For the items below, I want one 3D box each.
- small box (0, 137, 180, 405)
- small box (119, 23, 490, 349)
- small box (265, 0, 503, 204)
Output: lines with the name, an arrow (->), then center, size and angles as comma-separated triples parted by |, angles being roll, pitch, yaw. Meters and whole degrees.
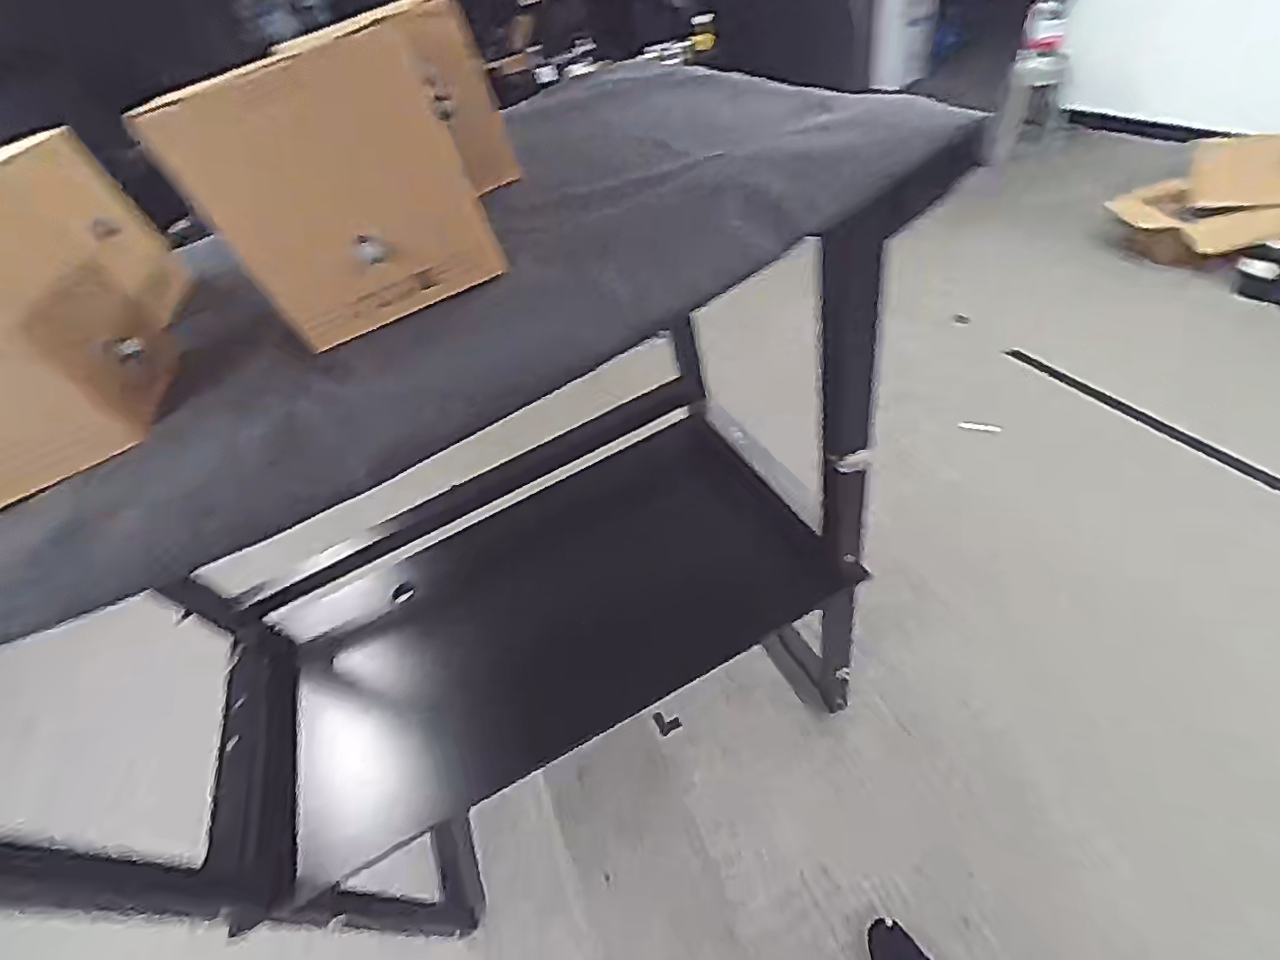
small box -> -0.624, -0.209, 0.547 | 0.179, 0.176, 0.168 | -28, 47, -6
small box -> -0.242, -0.236, 0.438 | 0.168, 0.176, 0.179 | -26, 45, -5
small box -> -0.273, -0.397, 0.595 | 0.168, 0.176, 0.179 | -29, 47, -9
